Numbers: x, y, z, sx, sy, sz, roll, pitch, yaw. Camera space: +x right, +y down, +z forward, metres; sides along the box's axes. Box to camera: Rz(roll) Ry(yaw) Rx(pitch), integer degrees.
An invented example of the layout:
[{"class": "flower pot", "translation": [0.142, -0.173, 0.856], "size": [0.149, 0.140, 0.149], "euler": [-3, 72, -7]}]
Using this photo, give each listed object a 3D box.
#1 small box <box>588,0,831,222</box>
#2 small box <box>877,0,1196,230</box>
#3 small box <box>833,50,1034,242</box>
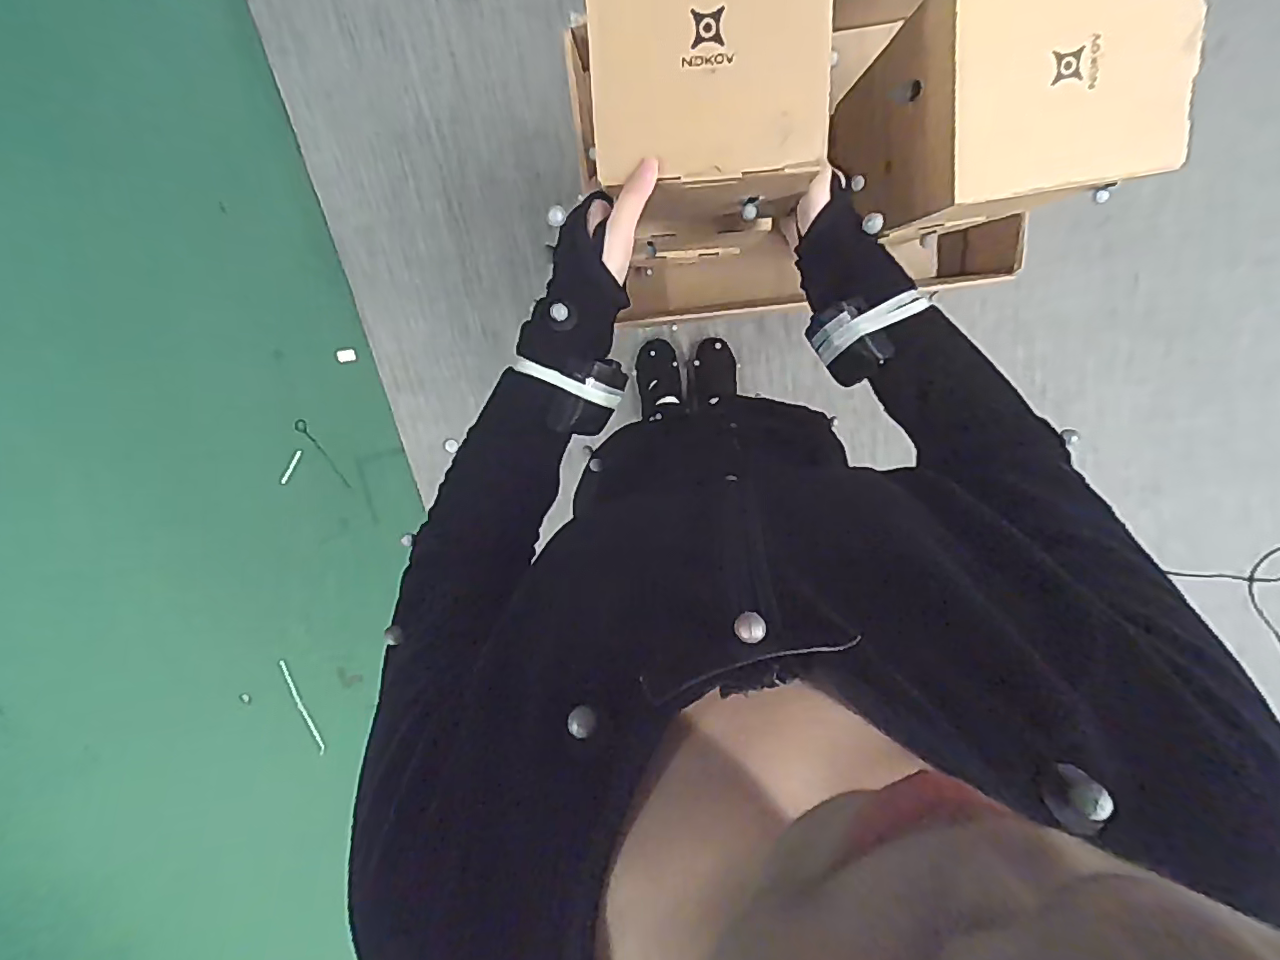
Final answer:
[{"class": "small box", "translation": [0.053, -0.321, 0.446], "size": [0.168, 0.176, 0.179], "euler": [-1, 105, 4]}, {"class": "small box", "translation": [0.325, -0.333, 0.483], "size": [0.179, 0.176, 0.168], "euler": [-8, 107, 5]}, {"class": "small box", "translation": [0.336, -0.386, 0.637], "size": [0.168, 0.176, 0.179], "euler": [-8, 109, 4]}]
